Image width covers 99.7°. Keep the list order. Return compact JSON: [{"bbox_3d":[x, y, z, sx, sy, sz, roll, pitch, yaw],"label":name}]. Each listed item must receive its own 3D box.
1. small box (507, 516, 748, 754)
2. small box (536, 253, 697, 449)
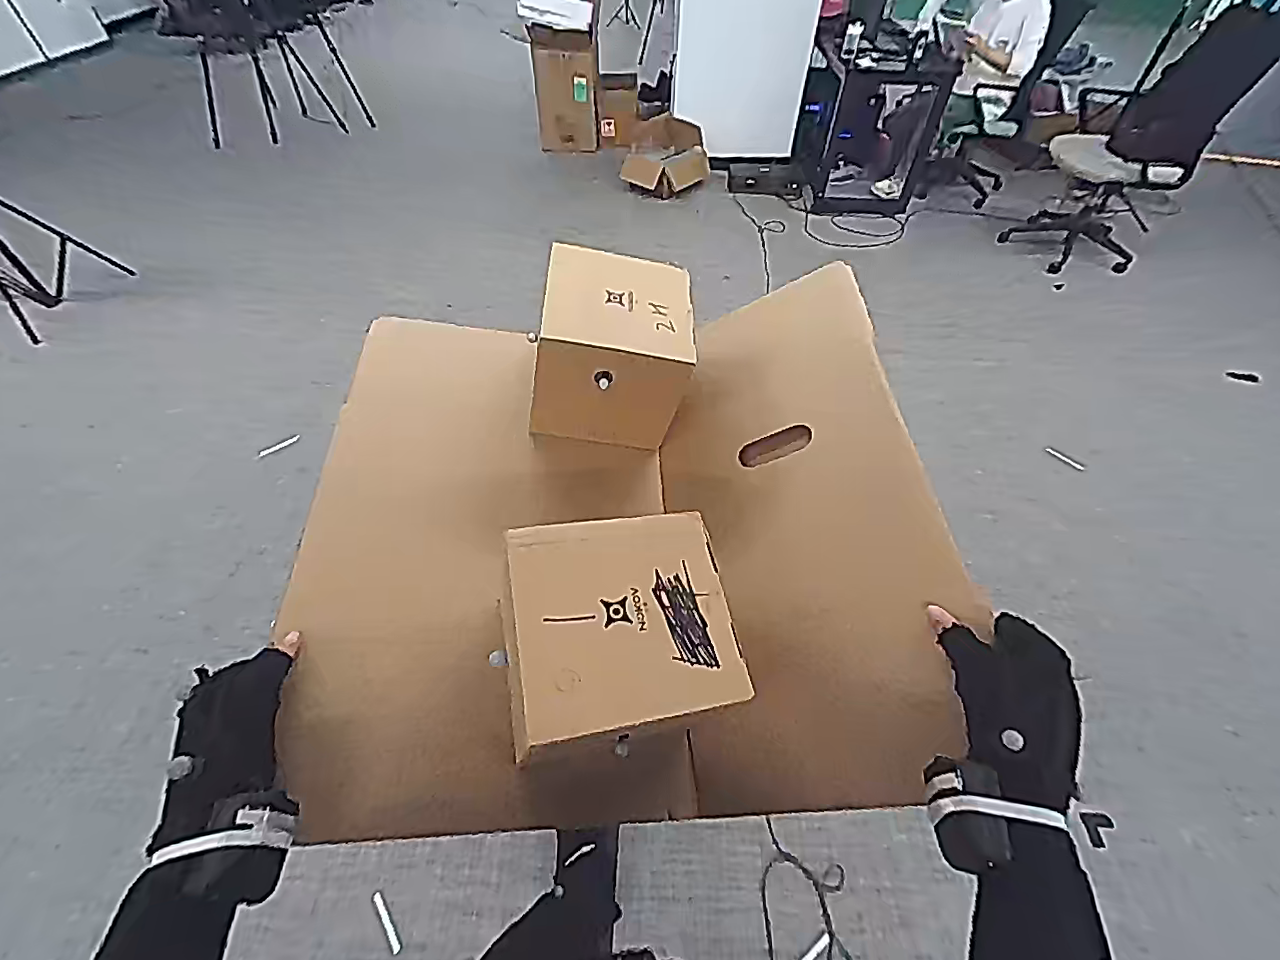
[{"bbox_3d":[-0.028,0.148,0.509,0.179,0.176,0.168,-4,60,-17],"label":"small box"},{"bbox_3d":[-0.036,-0.159,0.703,0.179,0.176,0.168,9,57,-11],"label":"small box"}]
